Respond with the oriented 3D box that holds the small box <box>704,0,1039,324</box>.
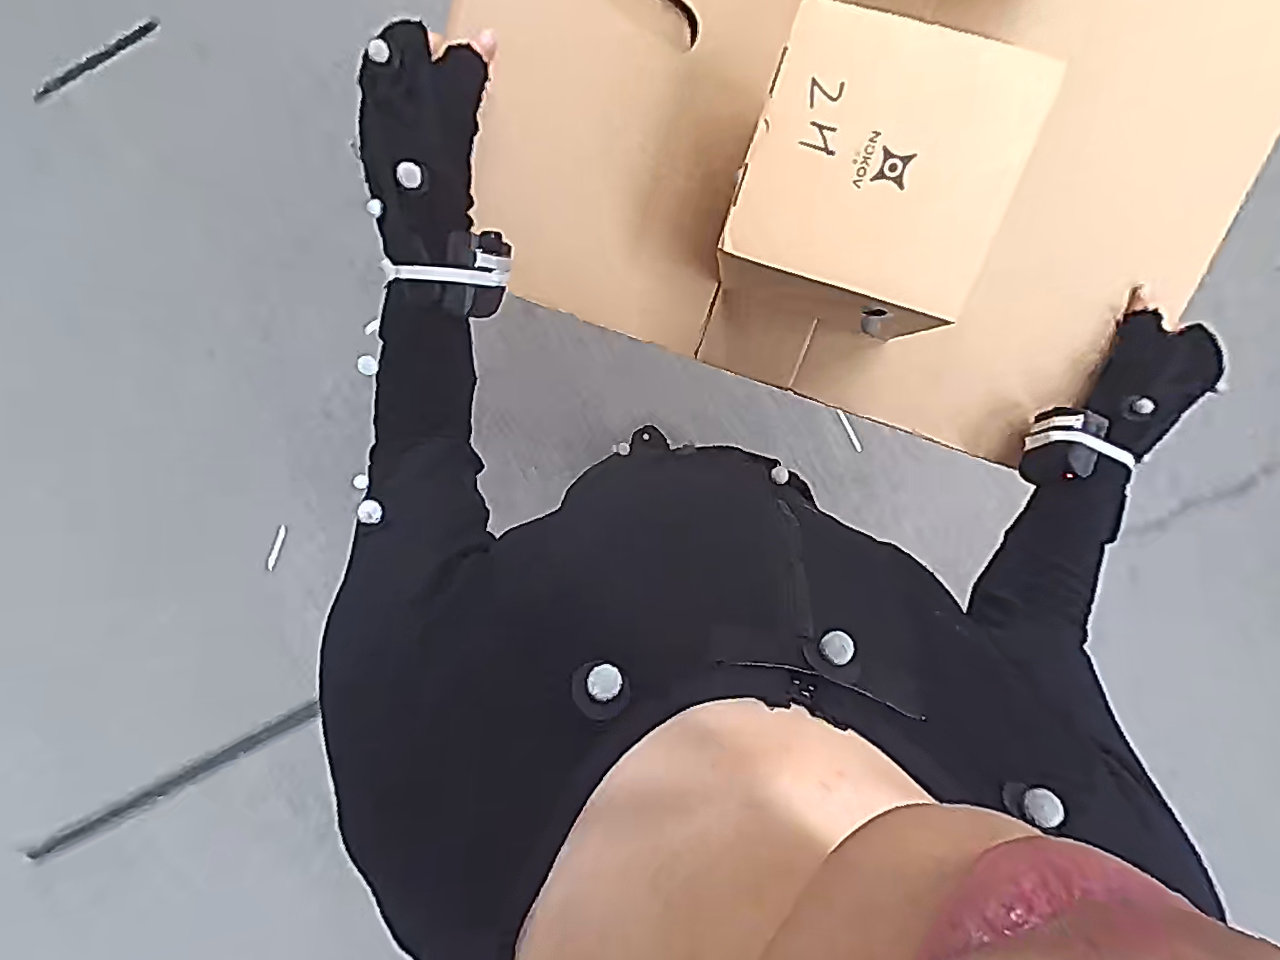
[{"bbox_3d":[0.165,-0.235,0.450,0.179,0.176,0.168,19,103,6],"label":"small box"}]
